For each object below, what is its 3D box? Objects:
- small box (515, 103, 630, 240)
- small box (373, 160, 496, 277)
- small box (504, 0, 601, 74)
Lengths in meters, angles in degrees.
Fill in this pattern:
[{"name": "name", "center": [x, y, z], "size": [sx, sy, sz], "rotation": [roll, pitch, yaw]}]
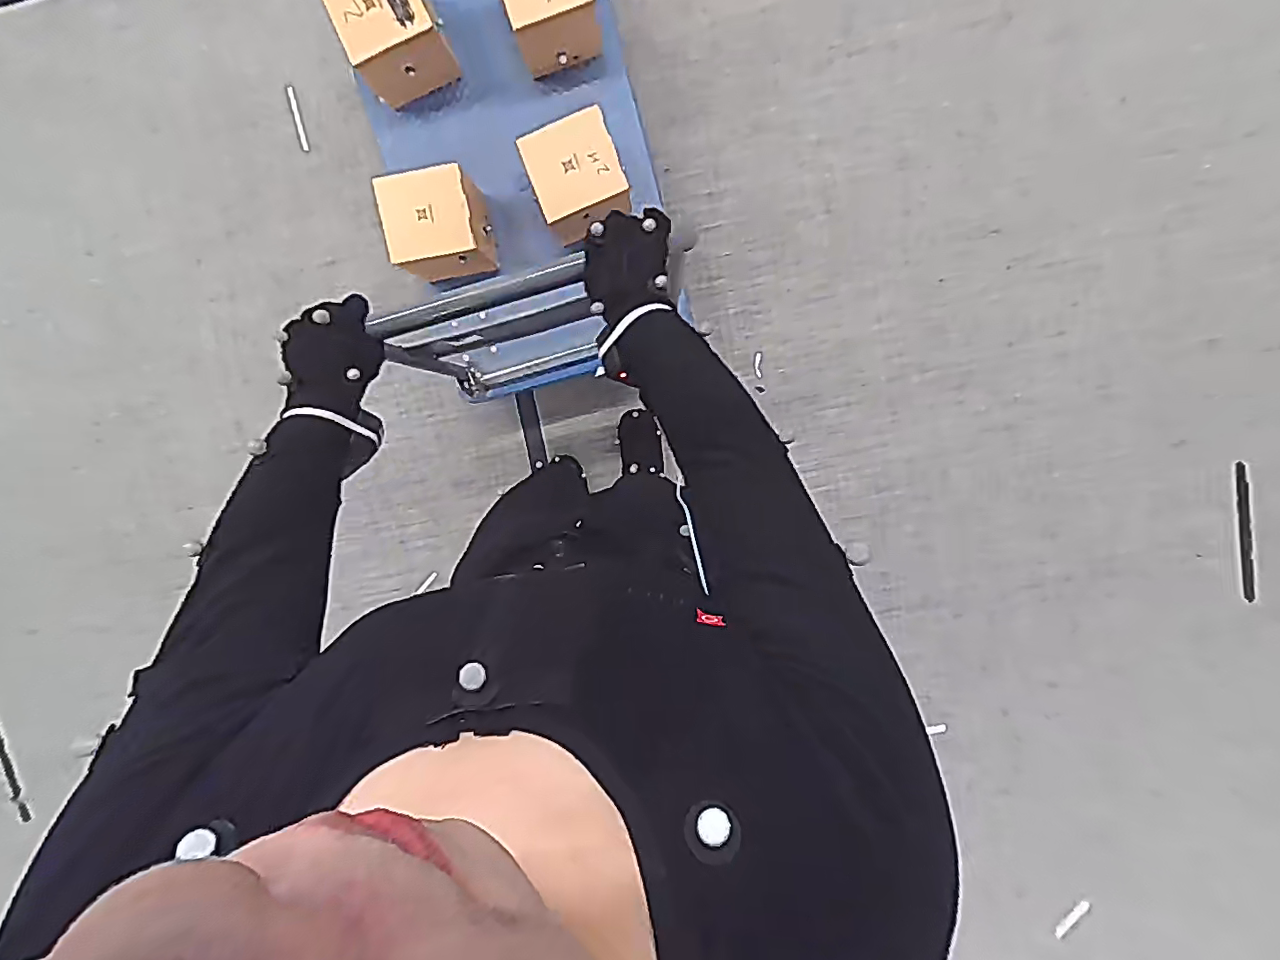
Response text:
[{"name": "small box", "center": [-0.131, -0.626, 1.123], "size": [0.179, 0.176, 0.168], "rotation": [-20, 98, 5]}, {"name": "small box", "center": [-0.426, -0.543, 1.146], "size": [0.179, 0.176, 0.168], "rotation": [-10, 98, 2]}, {"name": "small box", "center": [-0.184, -0.962, 1.070], "size": [0.168, 0.176, 0.179], "rotation": [-16, 99, 4]}]
